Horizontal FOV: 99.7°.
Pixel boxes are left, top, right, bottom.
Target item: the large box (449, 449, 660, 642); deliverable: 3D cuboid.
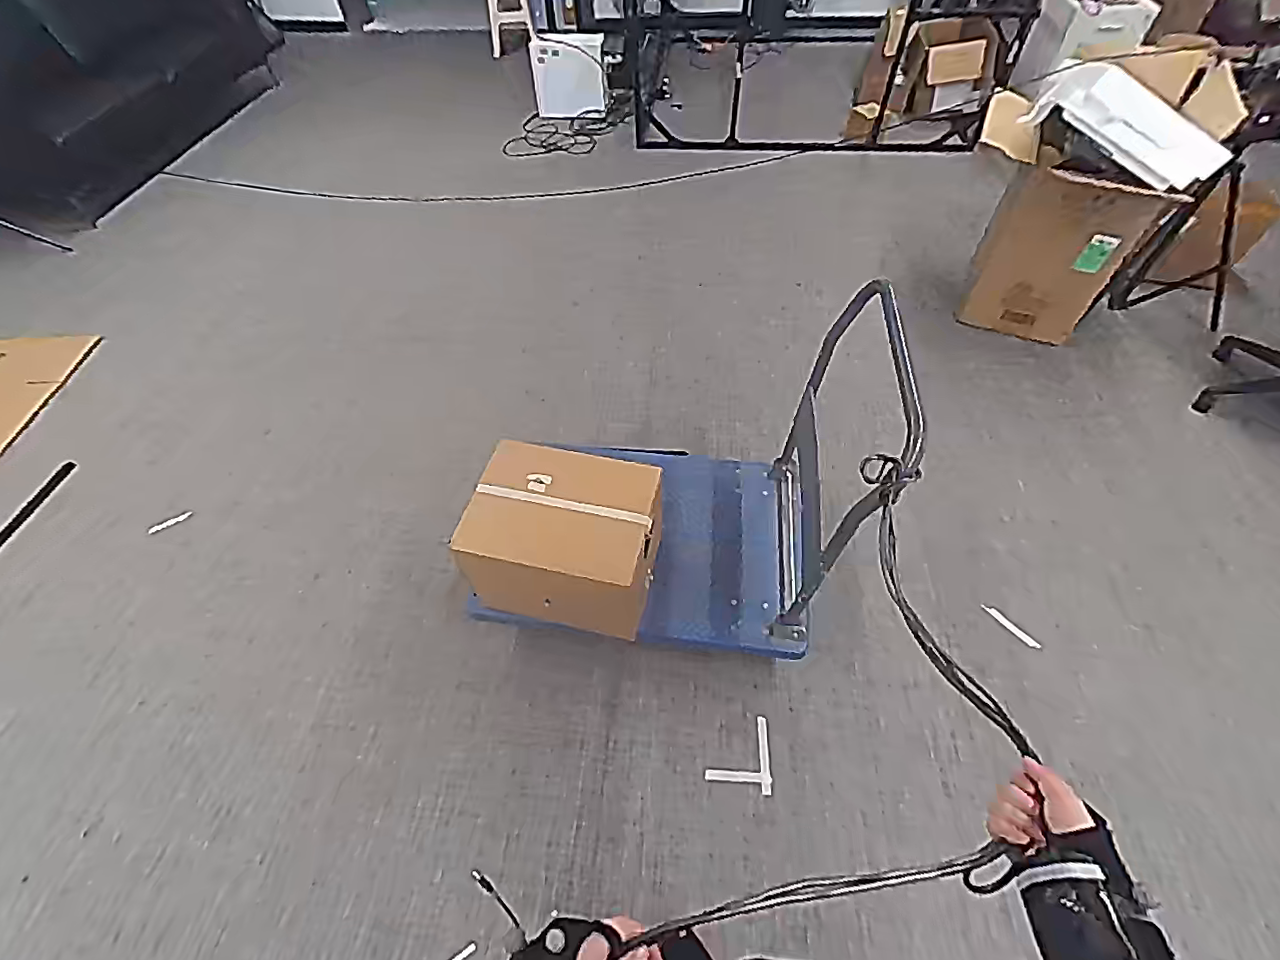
[{"bbox_3d":[-0.172,0.162,1.310,0.408,0.320,0.320,10,53,9],"label":"large box"}]
